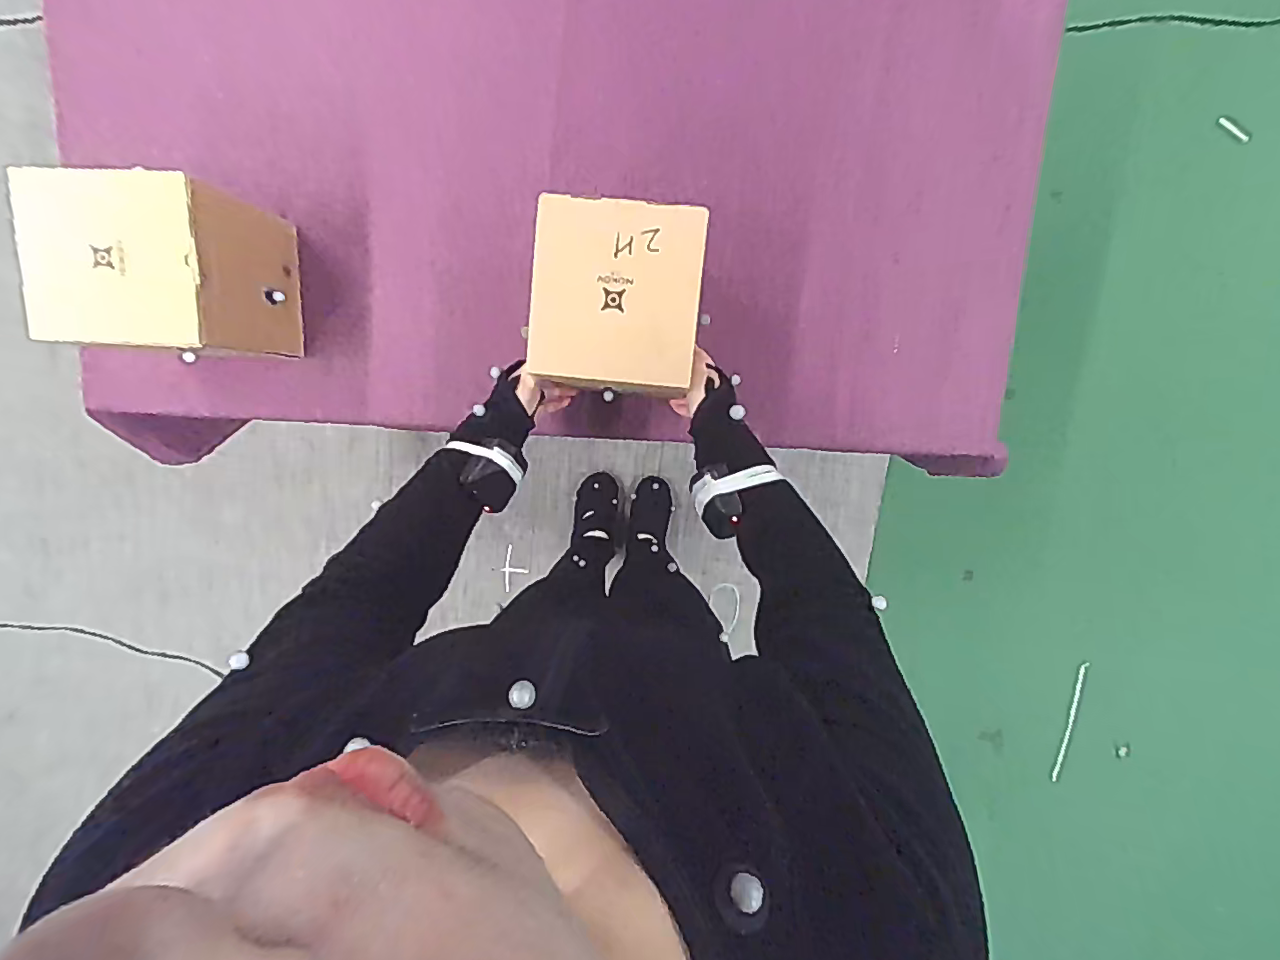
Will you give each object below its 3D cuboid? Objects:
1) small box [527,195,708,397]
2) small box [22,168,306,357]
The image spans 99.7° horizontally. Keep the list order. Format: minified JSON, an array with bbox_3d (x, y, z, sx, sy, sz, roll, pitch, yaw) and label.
[{"bbox_3d":[-0.020,-0.190,0.608,0.168,0.176,0.179,6,95,2],"label":"small box"},{"bbox_3d":[-0.522,-0.233,0.619,0.179,0.176,0.168,2,98,0],"label":"small box"}]
